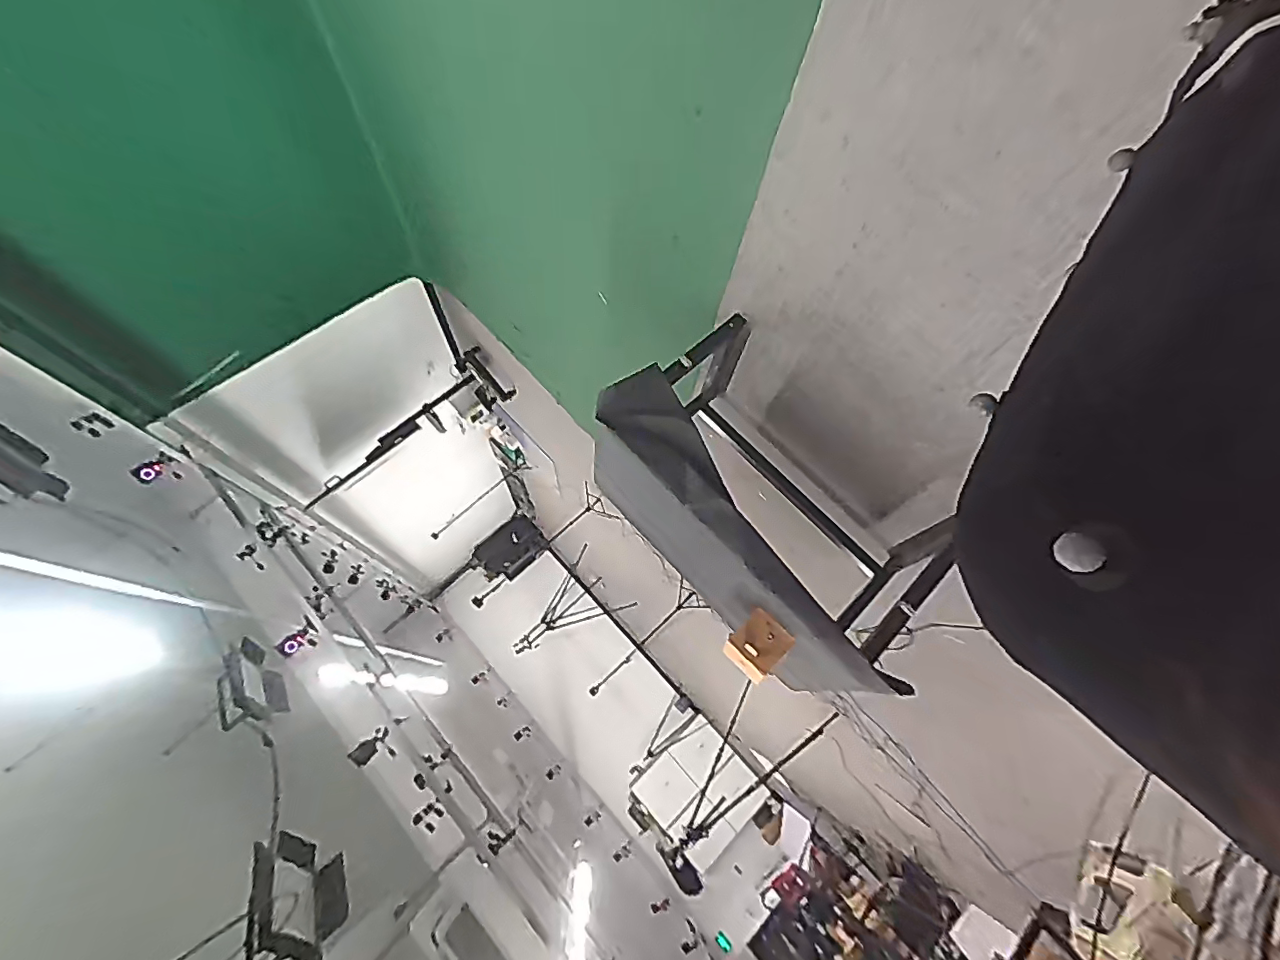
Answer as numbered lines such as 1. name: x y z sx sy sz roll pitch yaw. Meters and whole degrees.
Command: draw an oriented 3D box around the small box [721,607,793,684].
1. small box: 0.402 0.568 1.857 0.168 0.176 0.179 42 160 24
